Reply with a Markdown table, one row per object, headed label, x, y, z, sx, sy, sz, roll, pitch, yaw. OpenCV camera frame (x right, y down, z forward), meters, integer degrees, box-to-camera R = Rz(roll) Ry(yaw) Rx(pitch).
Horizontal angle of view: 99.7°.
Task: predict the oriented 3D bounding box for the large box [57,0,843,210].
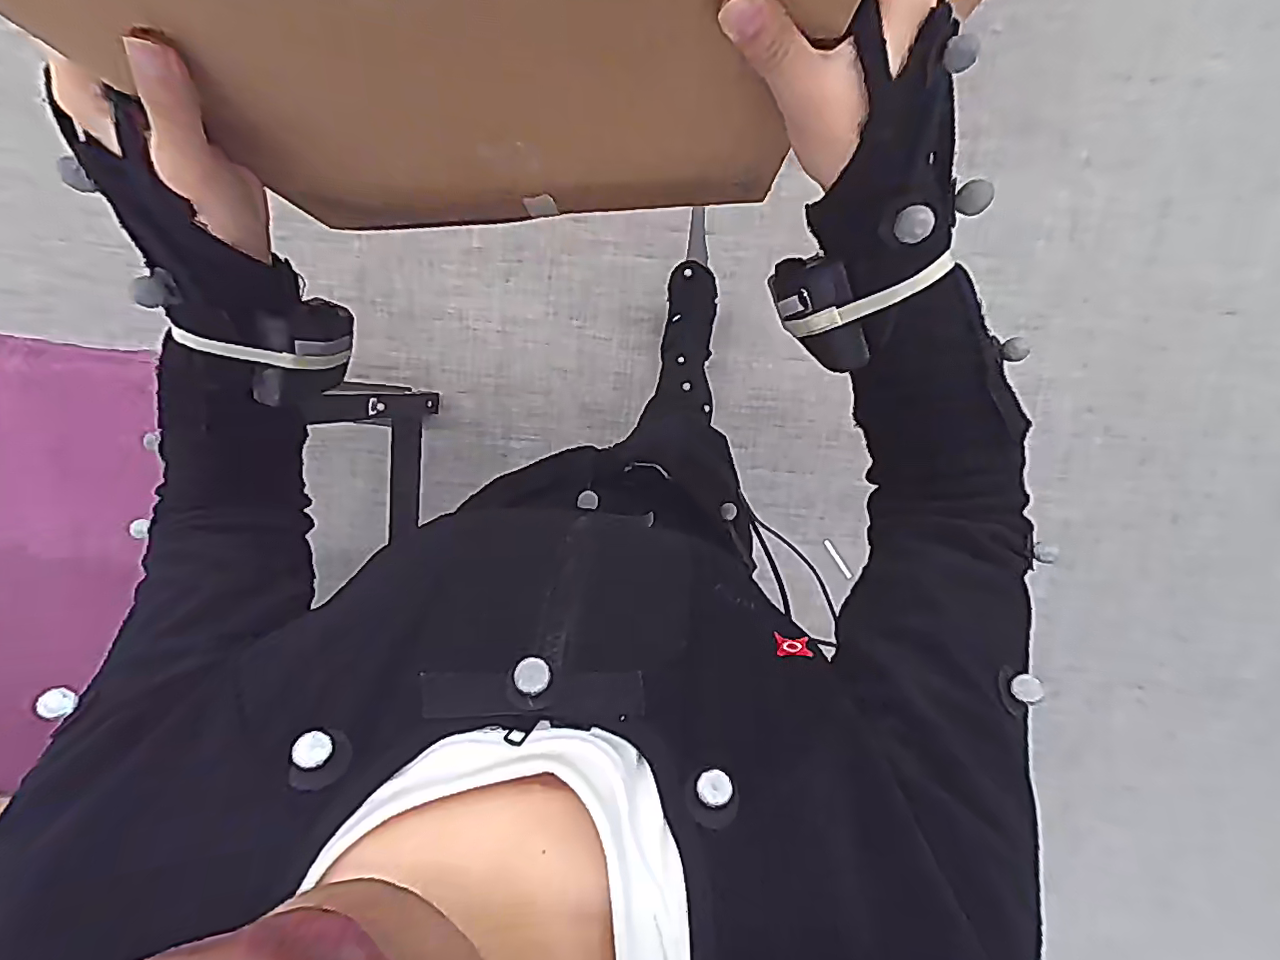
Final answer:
| label | x | y | z | sx | sy | sz | roll | pitch | yaw |
| --- | --- | --- | --- | --- | --- | --- | --- | --- | --- |
| large box | -0.080 | -0.383 | 0.214 | 0.320 | 0.320 | 0.408 | -4 | 95 | 3 |
